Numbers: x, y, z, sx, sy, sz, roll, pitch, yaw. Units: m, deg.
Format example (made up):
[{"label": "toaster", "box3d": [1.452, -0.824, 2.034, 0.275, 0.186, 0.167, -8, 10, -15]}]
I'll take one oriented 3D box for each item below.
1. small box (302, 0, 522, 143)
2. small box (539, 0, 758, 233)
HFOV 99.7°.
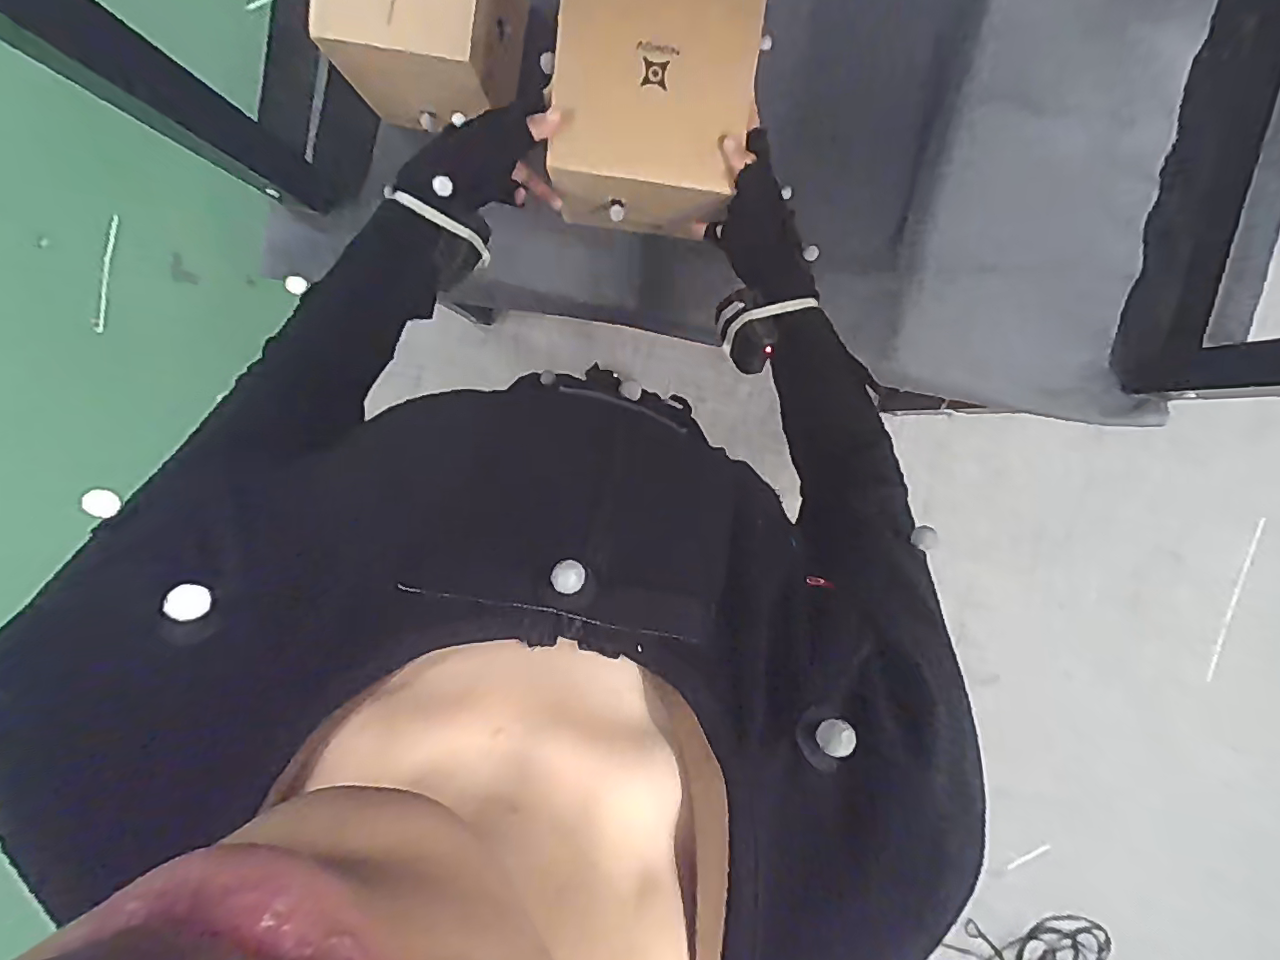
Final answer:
[{"label": "small box", "box3d": [-0.237, -0.522, 0.605, 0.168, 0.176, 0.179, 10, 96, 0]}, {"label": "small box", "box3d": [0.005, -0.353, 0.516, 0.168, 0.176, 0.179, 6, 100, -4]}]
